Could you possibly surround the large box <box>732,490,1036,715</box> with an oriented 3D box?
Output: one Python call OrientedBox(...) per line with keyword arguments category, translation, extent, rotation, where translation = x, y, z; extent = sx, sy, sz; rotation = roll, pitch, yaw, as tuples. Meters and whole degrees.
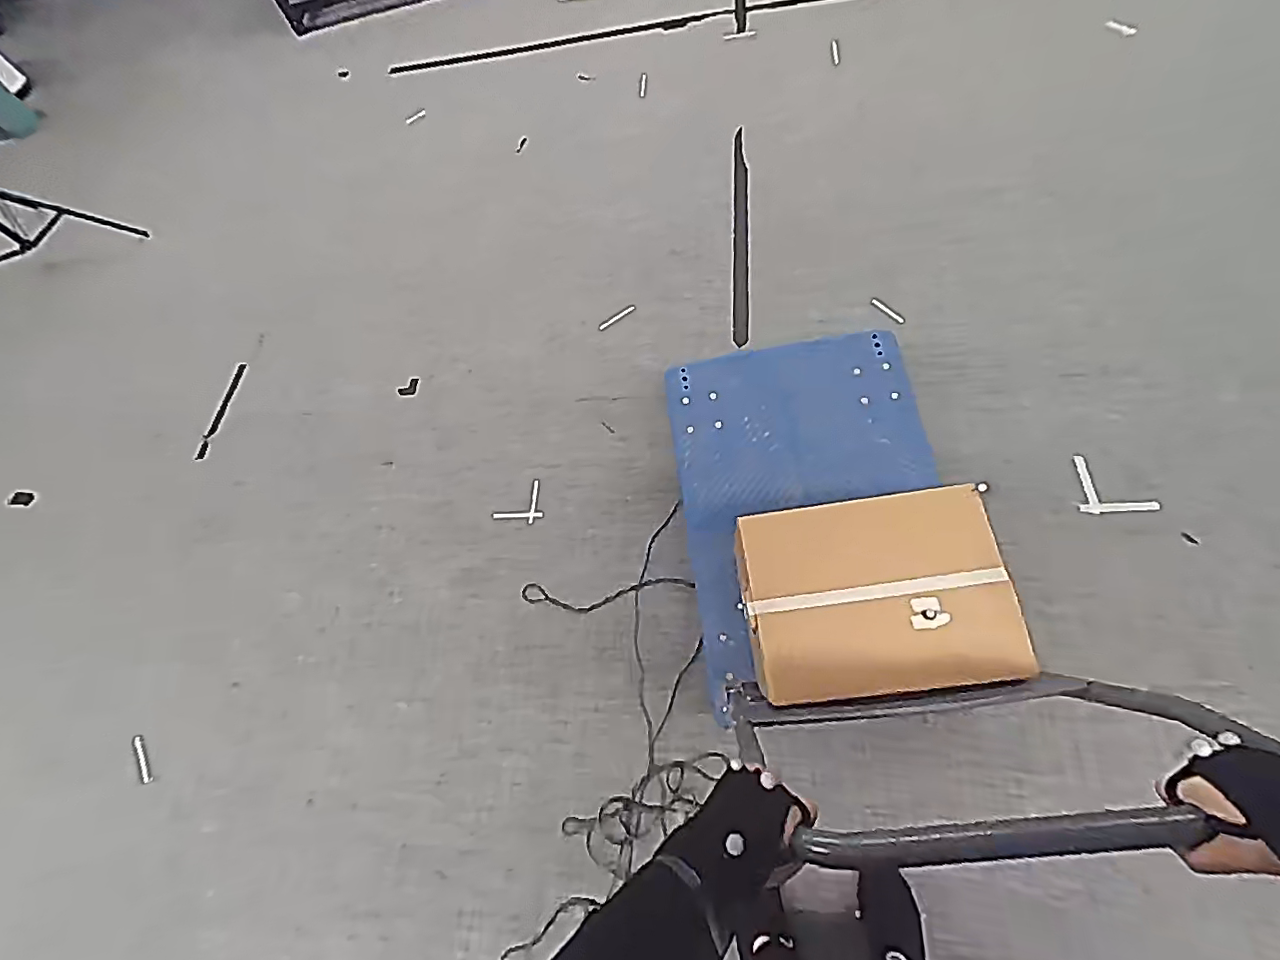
OrientedBox(category="large box", translation=(0.403, 0.239, 1.017), extent=(0.408, 0.320, 0.320), rotation=(-9, 72, 5))
